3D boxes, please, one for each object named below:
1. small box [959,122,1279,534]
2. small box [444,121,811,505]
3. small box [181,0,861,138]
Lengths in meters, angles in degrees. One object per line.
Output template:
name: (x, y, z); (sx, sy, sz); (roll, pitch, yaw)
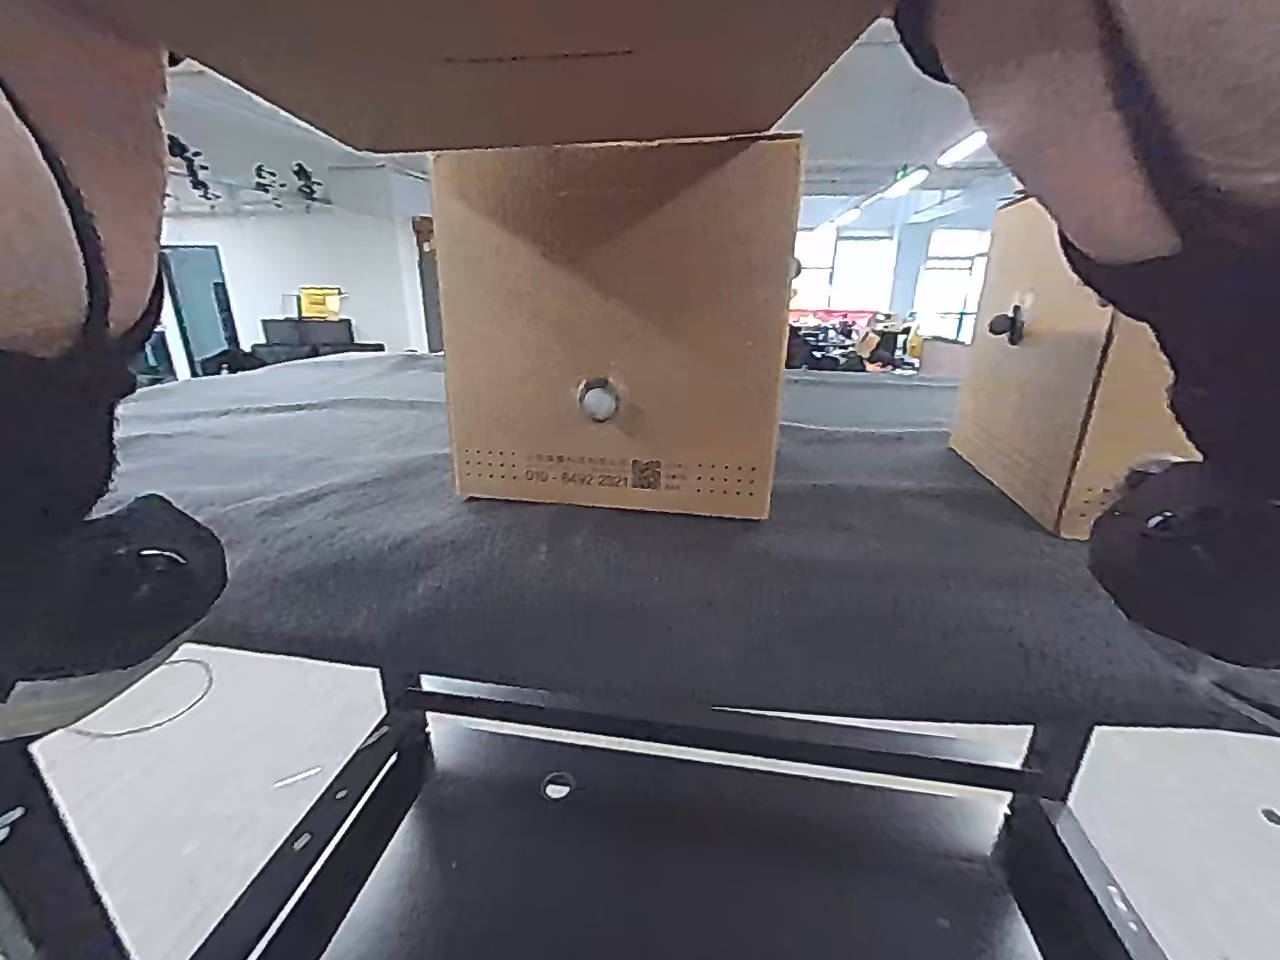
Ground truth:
small box: (0.297, -0.076, 0.290); (0.168, 0.176, 0.179); (5, 18, 13)
small box: (0.001, -0.095, 0.332); (0.168, 0.176, 0.179); (4, 18, 9)
small box: (-0.026, -0.189, 0.107); (0.168, 0.176, 0.179); (-4, 20, -3)
